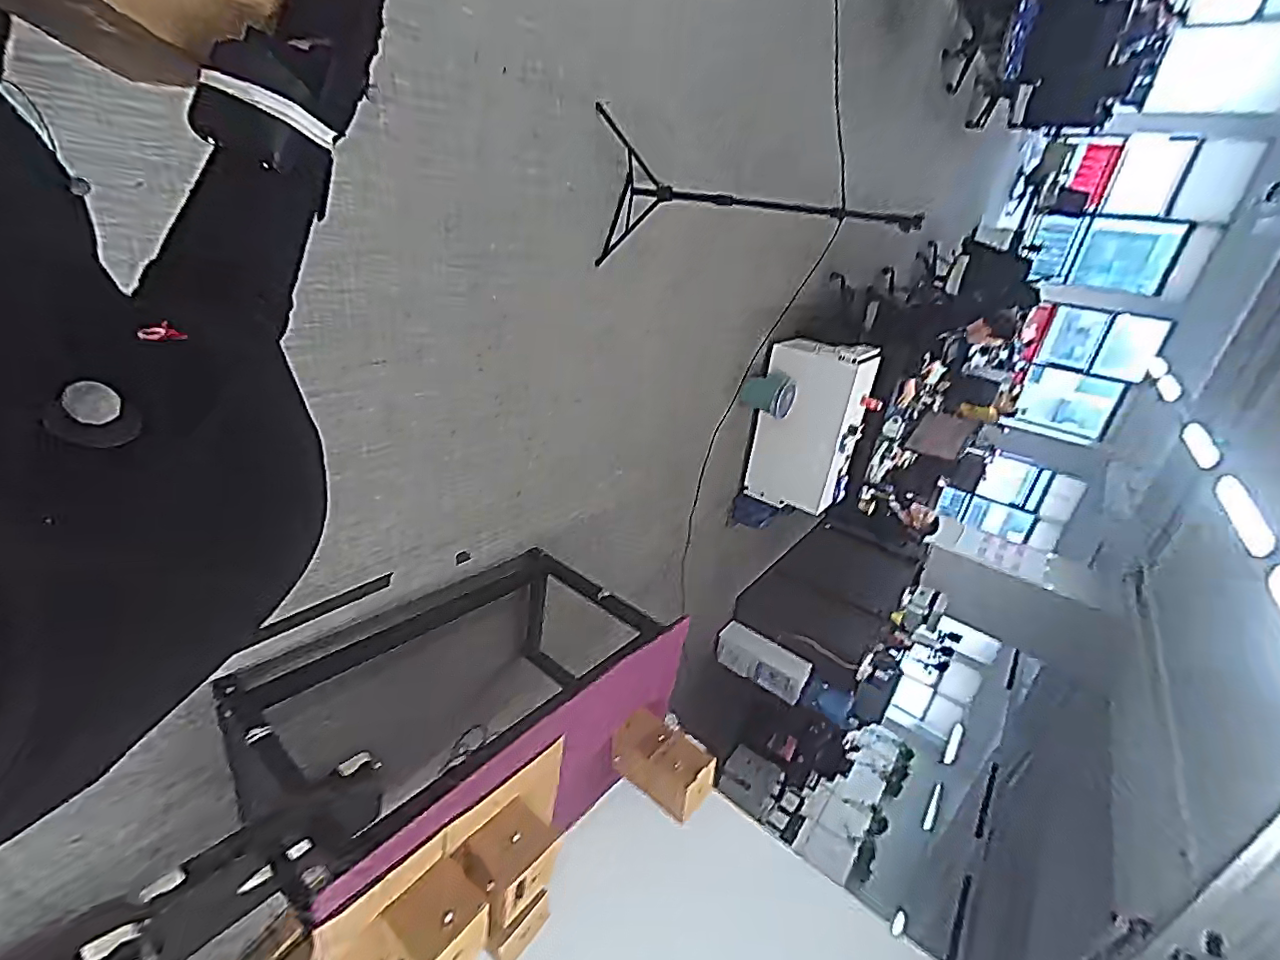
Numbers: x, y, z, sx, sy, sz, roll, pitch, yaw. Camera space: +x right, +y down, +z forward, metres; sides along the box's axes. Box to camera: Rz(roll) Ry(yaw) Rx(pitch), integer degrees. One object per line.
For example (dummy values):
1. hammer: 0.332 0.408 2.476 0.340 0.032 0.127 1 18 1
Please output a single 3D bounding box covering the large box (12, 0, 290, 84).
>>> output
1. large box: -0.431 -0.507 0.285 0.408 0.320 0.320 14 103 -59
